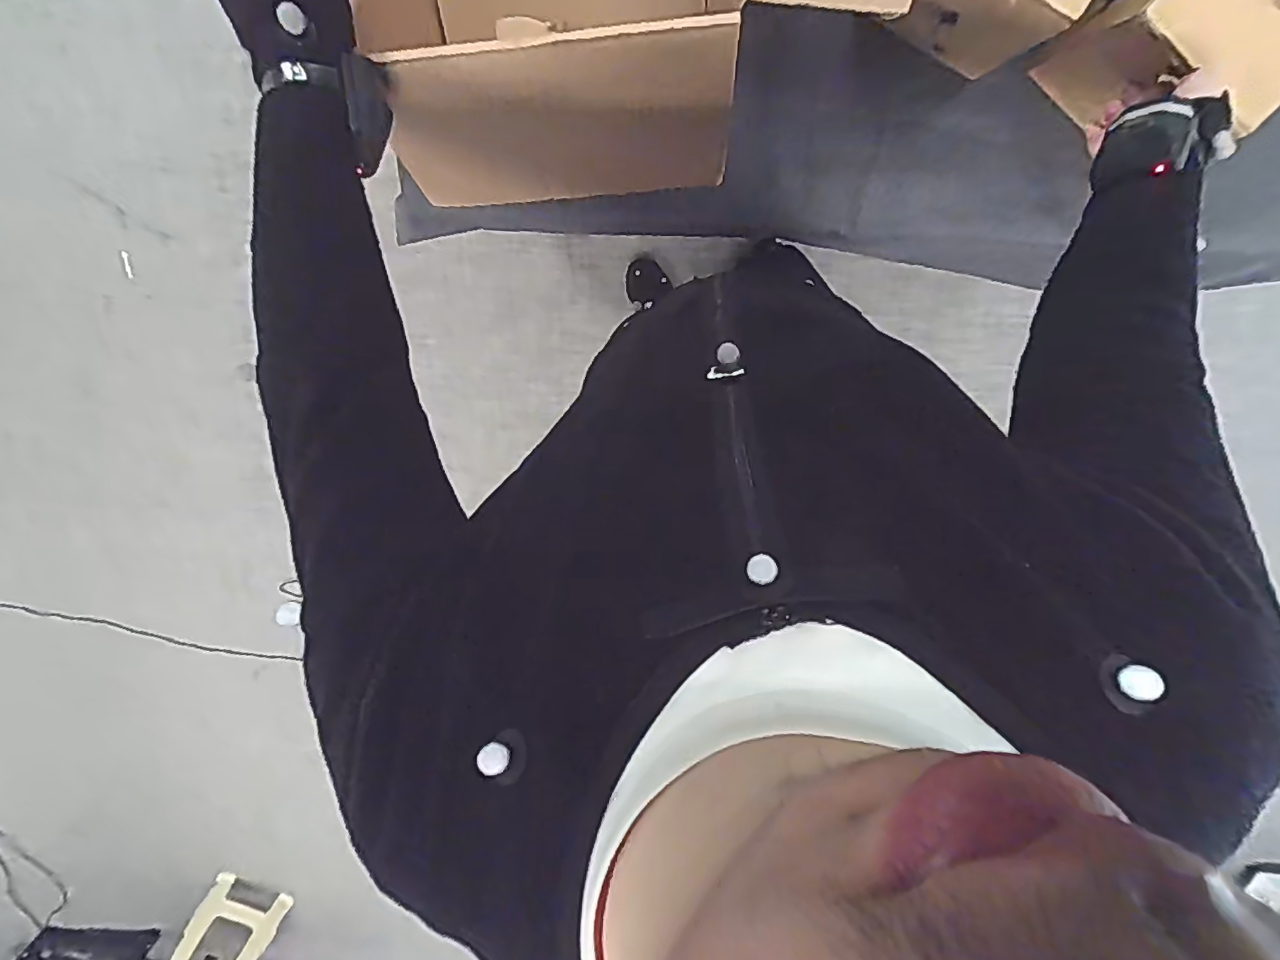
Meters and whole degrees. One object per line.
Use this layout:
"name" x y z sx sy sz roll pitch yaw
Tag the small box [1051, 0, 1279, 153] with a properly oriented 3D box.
"small box" 0.566 -0.466 0.541 0.168 0.176 0.179 32 110 -12
